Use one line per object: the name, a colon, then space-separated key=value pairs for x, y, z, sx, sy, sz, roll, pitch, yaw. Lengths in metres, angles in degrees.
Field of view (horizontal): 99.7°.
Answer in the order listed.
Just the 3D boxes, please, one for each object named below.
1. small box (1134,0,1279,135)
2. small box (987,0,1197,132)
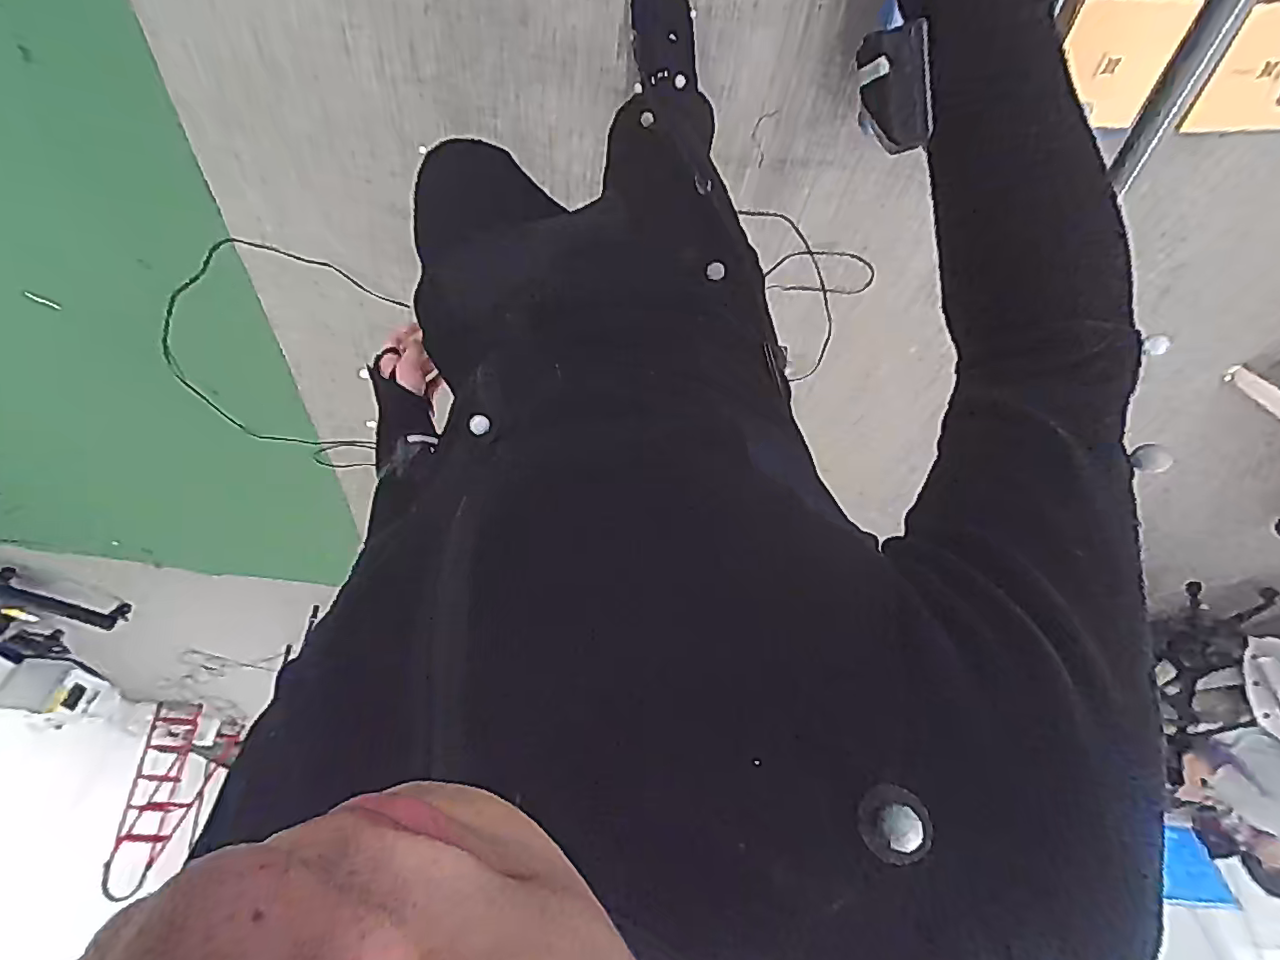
small box: x=0.977 y=-0.690 z=0.890 sx=0.179 sy=0.176 sz=0.168 roll=1 pitch=139 yaw=4
small box: x=0.728 y=-0.702 z=0.898 sx=0.179 sy=0.176 sz=0.168 roll=3 pitch=139 yaw=2
